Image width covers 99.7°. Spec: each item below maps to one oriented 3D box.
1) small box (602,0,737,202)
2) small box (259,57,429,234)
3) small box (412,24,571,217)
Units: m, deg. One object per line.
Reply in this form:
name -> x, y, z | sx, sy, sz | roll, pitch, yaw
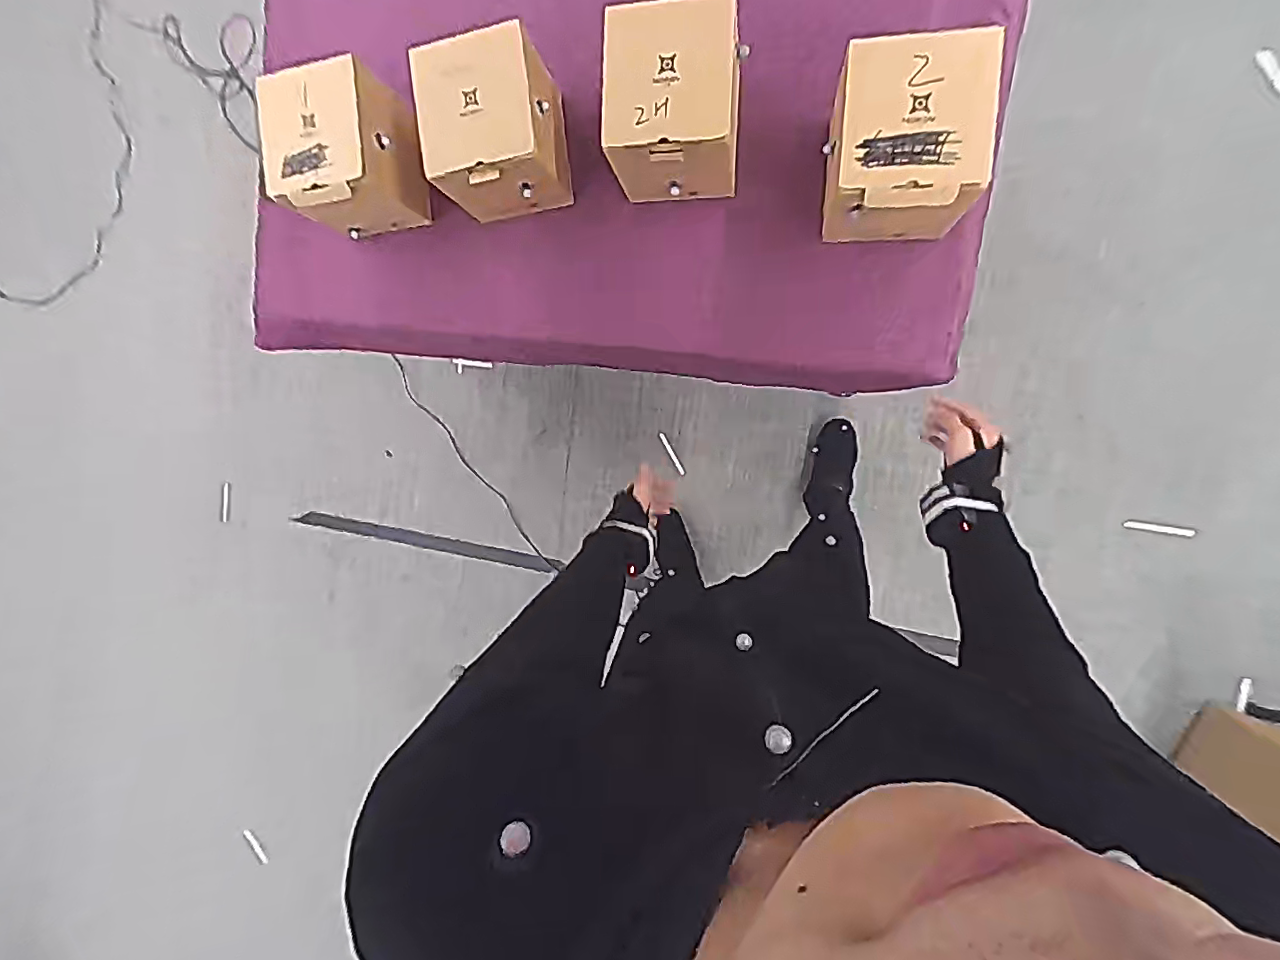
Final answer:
small box -> 0.049, -0.517, 0.758 | 0.168, 0.176, 0.179 | 3, 95, 12
small box -> -0.458, -0.511, 0.861 | 0.168, 0.176, 0.179 | -4, 93, 11
small box -> -0.211, -0.517, 0.812 | 0.168, 0.176, 0.179 | -6, 93, 11
